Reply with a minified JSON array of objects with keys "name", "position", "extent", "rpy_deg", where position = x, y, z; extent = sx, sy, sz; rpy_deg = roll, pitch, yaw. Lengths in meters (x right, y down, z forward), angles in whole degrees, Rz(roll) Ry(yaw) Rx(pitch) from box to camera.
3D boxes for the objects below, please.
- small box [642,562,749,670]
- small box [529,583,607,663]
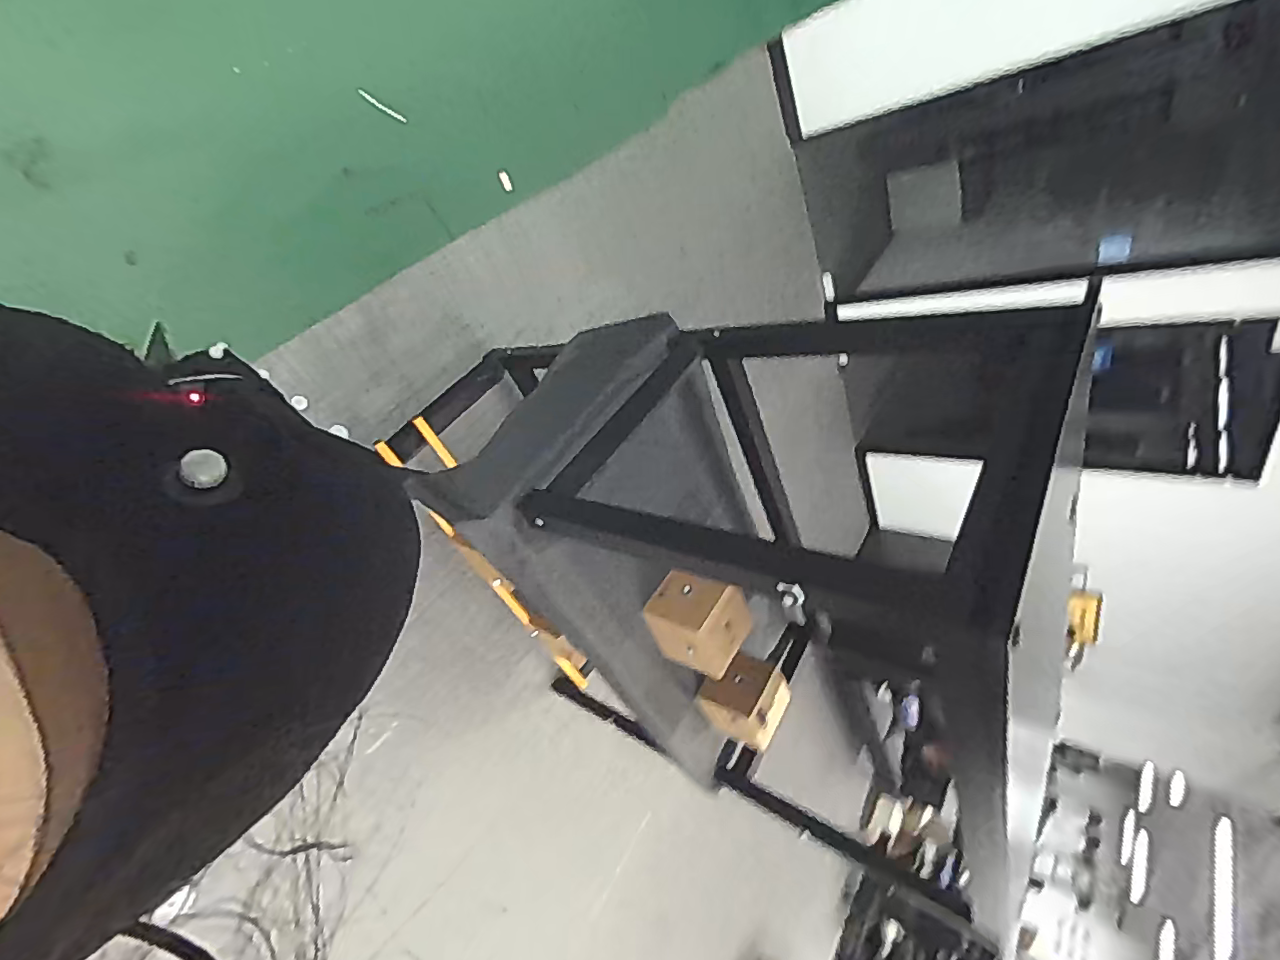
[{"name":"small box","position":[0.130,0.312,1.283],"extent":[0.168,0.176,0.179],"rpy_deg":[-49,129,-32]},{"name":"small box","position":[-0.250,0.478,1.832],"extent":[0.179,0.176,0.168],"rpy_deg":[-48,130,-32]}]
